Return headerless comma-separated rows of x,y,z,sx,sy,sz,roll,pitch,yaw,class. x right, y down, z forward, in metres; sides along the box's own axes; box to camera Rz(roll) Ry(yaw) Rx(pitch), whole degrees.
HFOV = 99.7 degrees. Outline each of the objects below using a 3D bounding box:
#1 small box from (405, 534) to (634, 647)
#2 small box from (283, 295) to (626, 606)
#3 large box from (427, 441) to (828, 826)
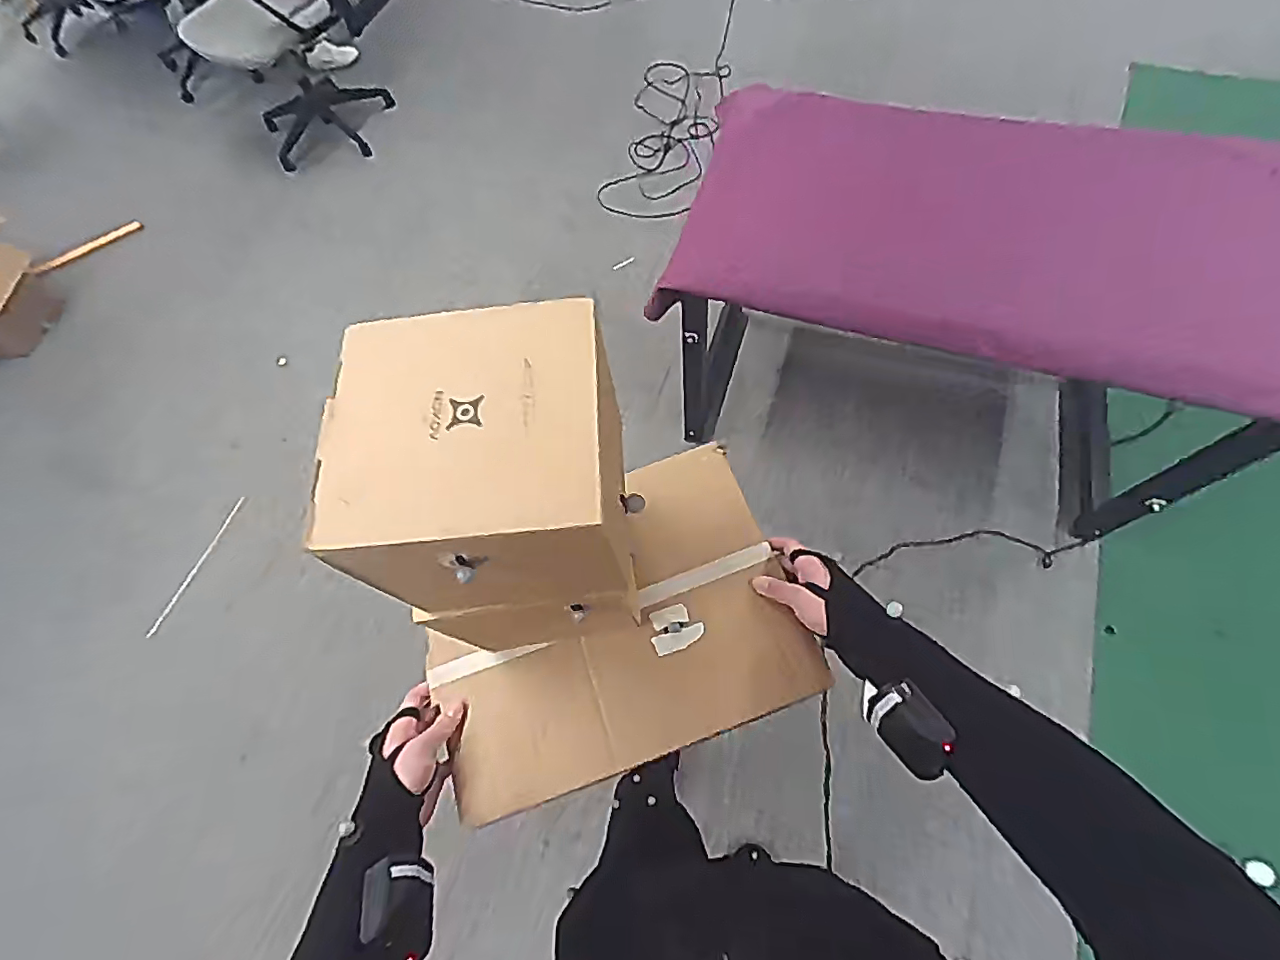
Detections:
-0.110,0.064,0.547,0.179,0.176,0.168,-10,64,2,small box
-0.109,-0.008,0.400,0.179,0.176,0.168,-5,65,3,small box
-0.026,0.209,0.740,0.408,0.320,0.320,-20,66,-4,large box
